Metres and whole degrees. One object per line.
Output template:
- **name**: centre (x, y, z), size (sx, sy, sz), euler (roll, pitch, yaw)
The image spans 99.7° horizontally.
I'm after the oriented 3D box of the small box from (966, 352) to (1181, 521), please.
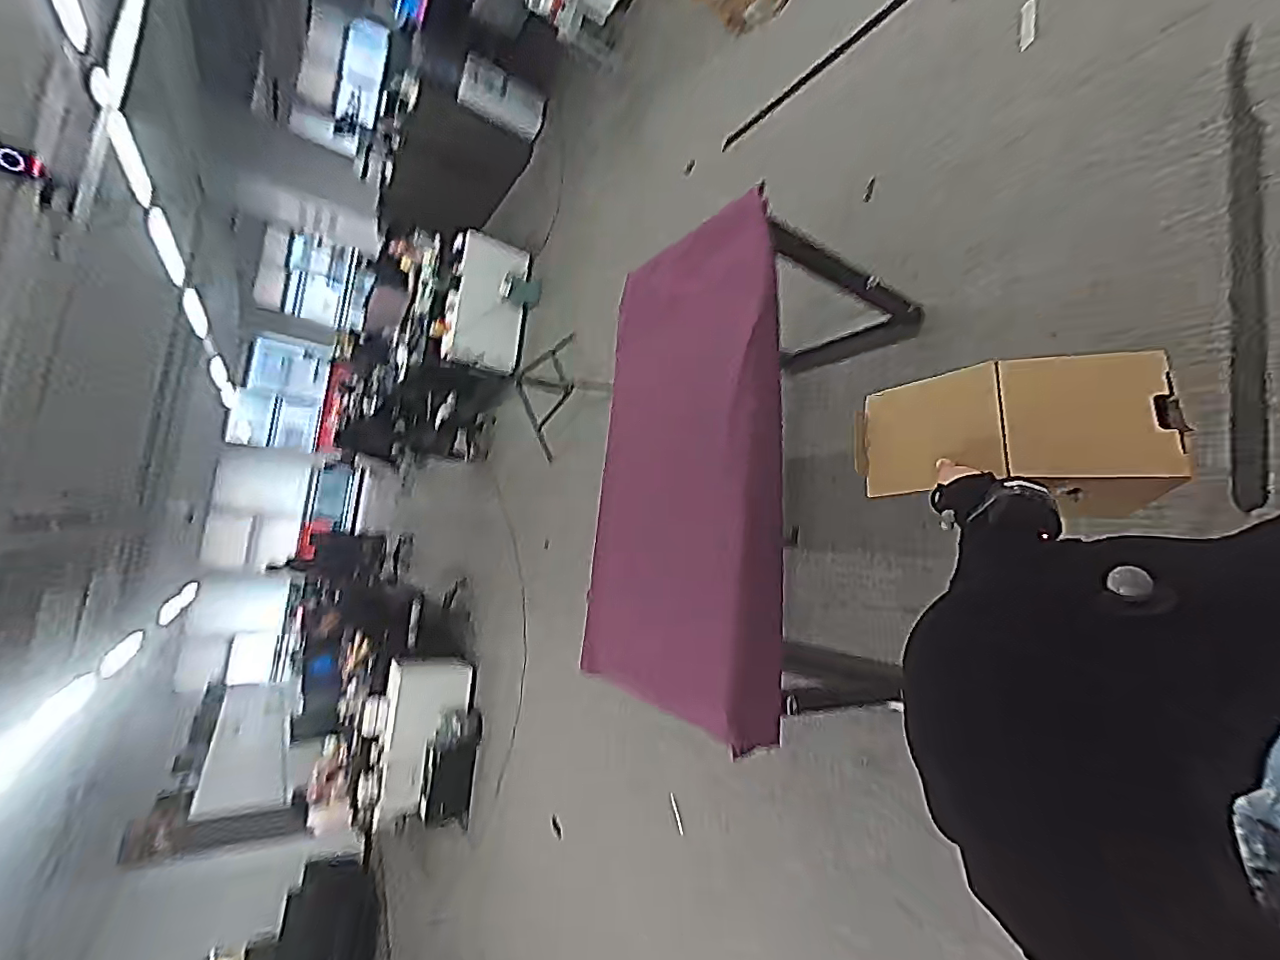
- **small box**: centre (0.543, -0.047, 0.711), size (0.179, 0.176, 0.168), euler (-1, 70, 20)
